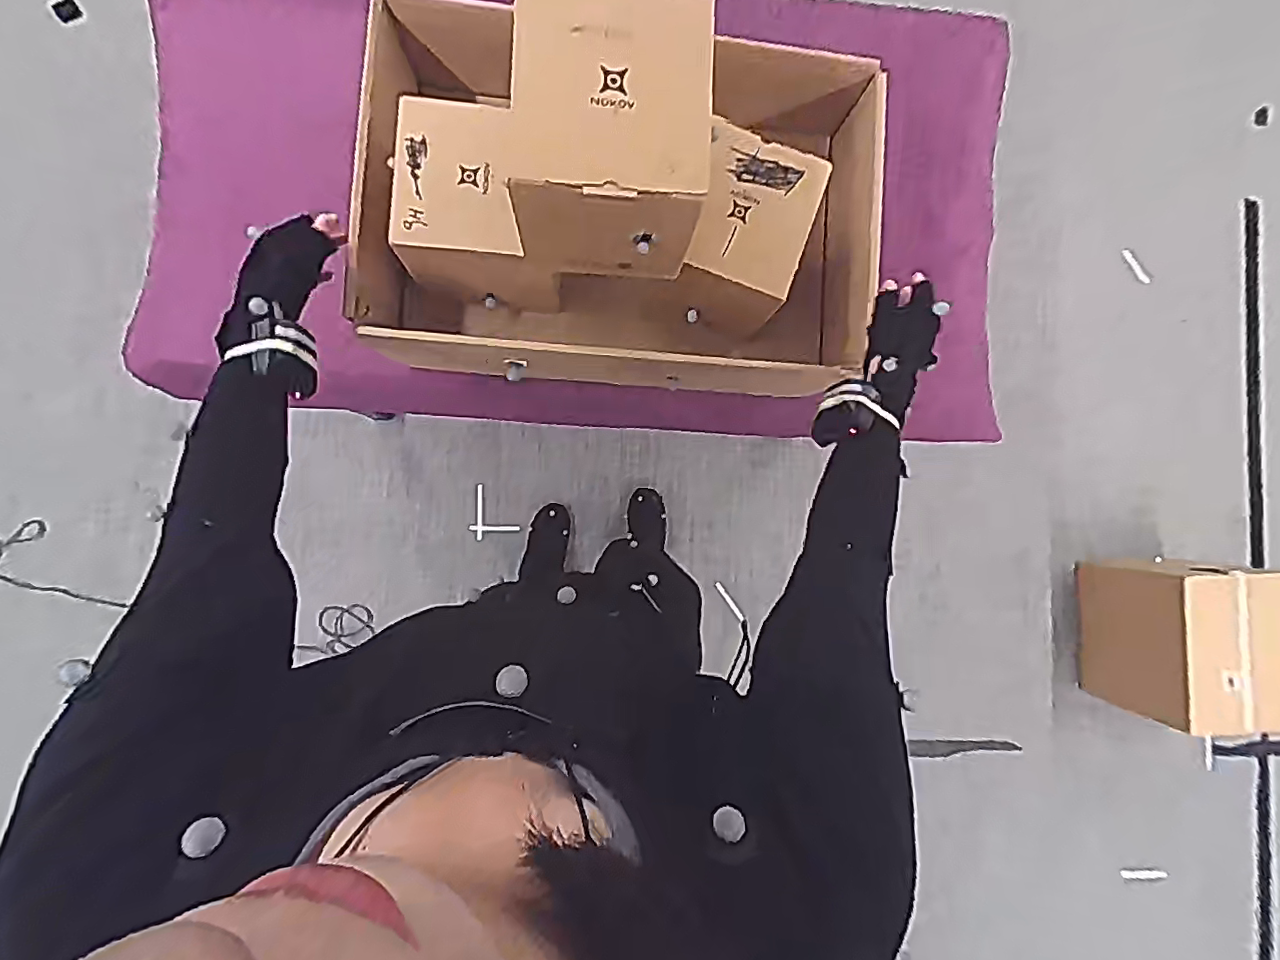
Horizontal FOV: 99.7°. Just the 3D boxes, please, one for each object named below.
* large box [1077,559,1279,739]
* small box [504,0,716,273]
[{"bbox_3d":[1.505,0.447,1.517,0.320,0.320,0.408,-1,89,-5],"label":"large box"},{"bbox_3d":[-0.030,-0.315,0.511,0.168,0.176,0.179,2,87,-6],"label":"small box"}]
